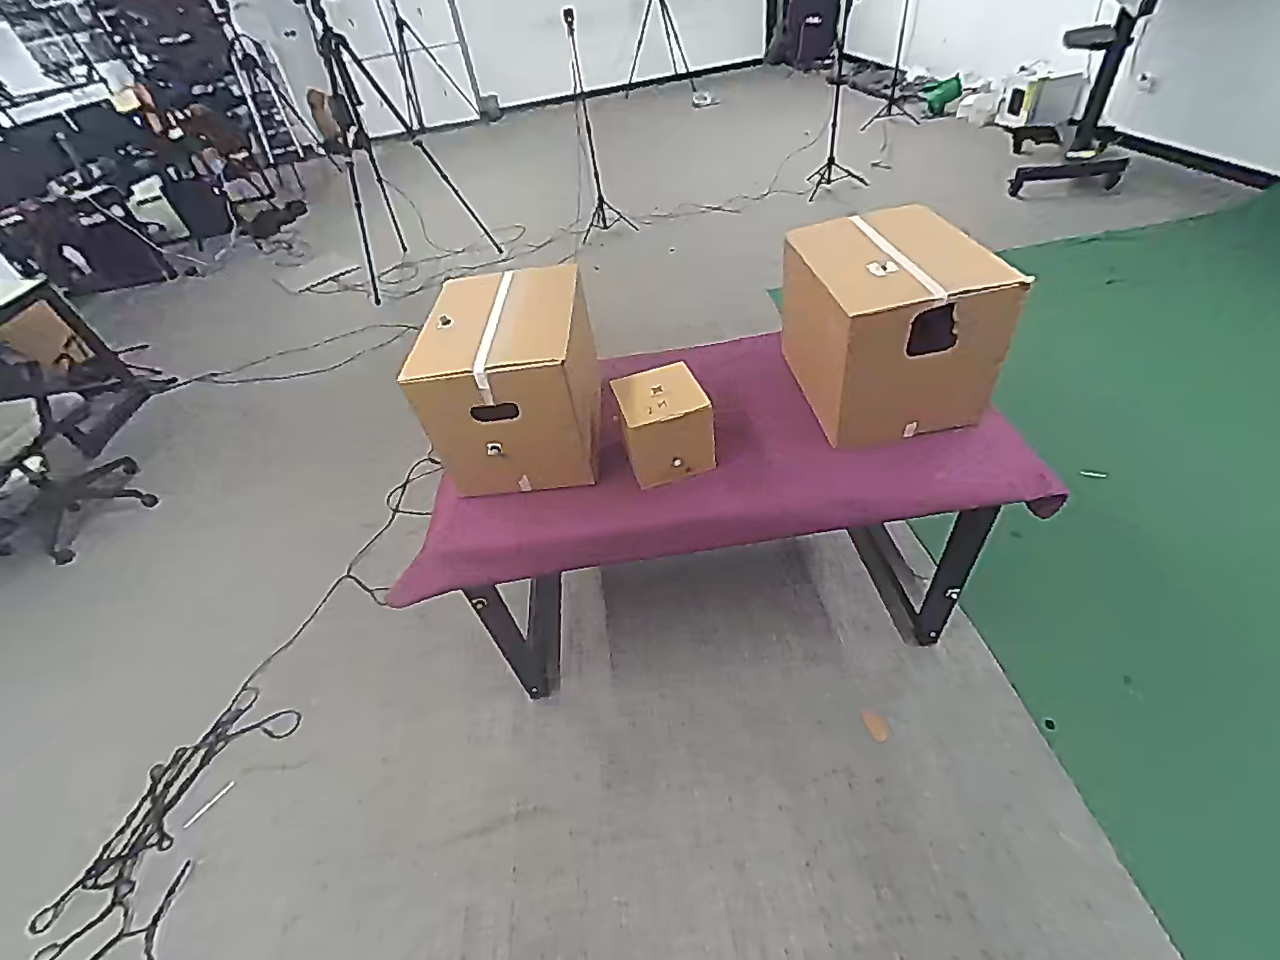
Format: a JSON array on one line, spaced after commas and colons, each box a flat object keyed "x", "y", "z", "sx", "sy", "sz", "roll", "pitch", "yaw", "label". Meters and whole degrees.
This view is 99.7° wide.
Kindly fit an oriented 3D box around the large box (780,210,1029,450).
[{"x": 0.511, "y": -0.328, "z": 1.163, "sx": 0.320, "sy": 0.320, "sz": 0.408, "roll": -11, "pitch": 44, "yaw": 3, "label": "large box"}]
